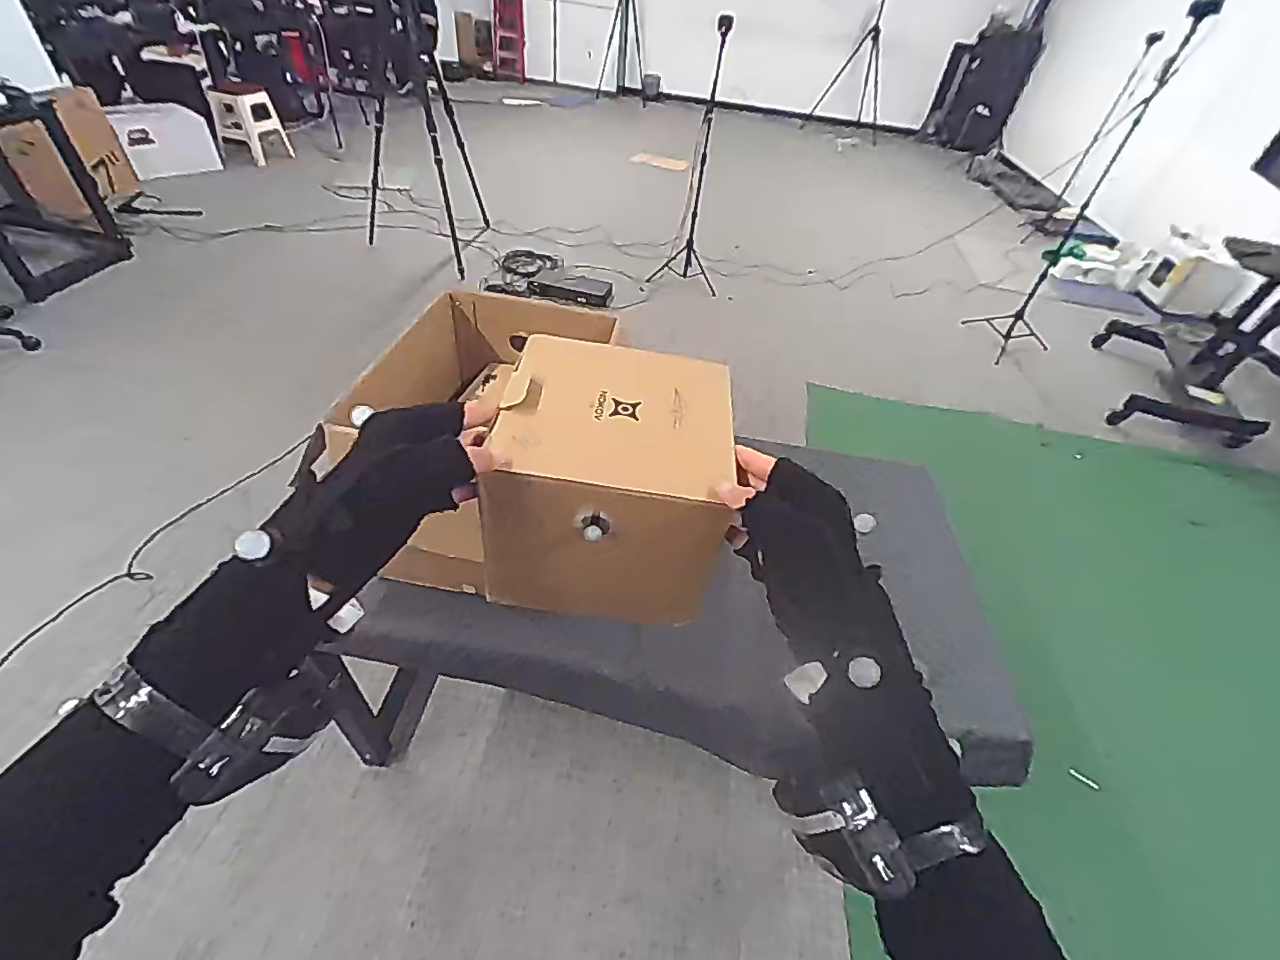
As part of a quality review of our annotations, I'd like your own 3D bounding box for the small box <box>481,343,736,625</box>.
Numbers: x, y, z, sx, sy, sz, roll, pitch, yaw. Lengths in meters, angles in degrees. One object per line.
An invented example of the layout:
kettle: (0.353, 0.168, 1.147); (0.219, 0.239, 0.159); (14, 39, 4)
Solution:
small box: (-0.026, 0.008, 0.470); (0.179, 0.176, 0.168); (9, 45, -4)
